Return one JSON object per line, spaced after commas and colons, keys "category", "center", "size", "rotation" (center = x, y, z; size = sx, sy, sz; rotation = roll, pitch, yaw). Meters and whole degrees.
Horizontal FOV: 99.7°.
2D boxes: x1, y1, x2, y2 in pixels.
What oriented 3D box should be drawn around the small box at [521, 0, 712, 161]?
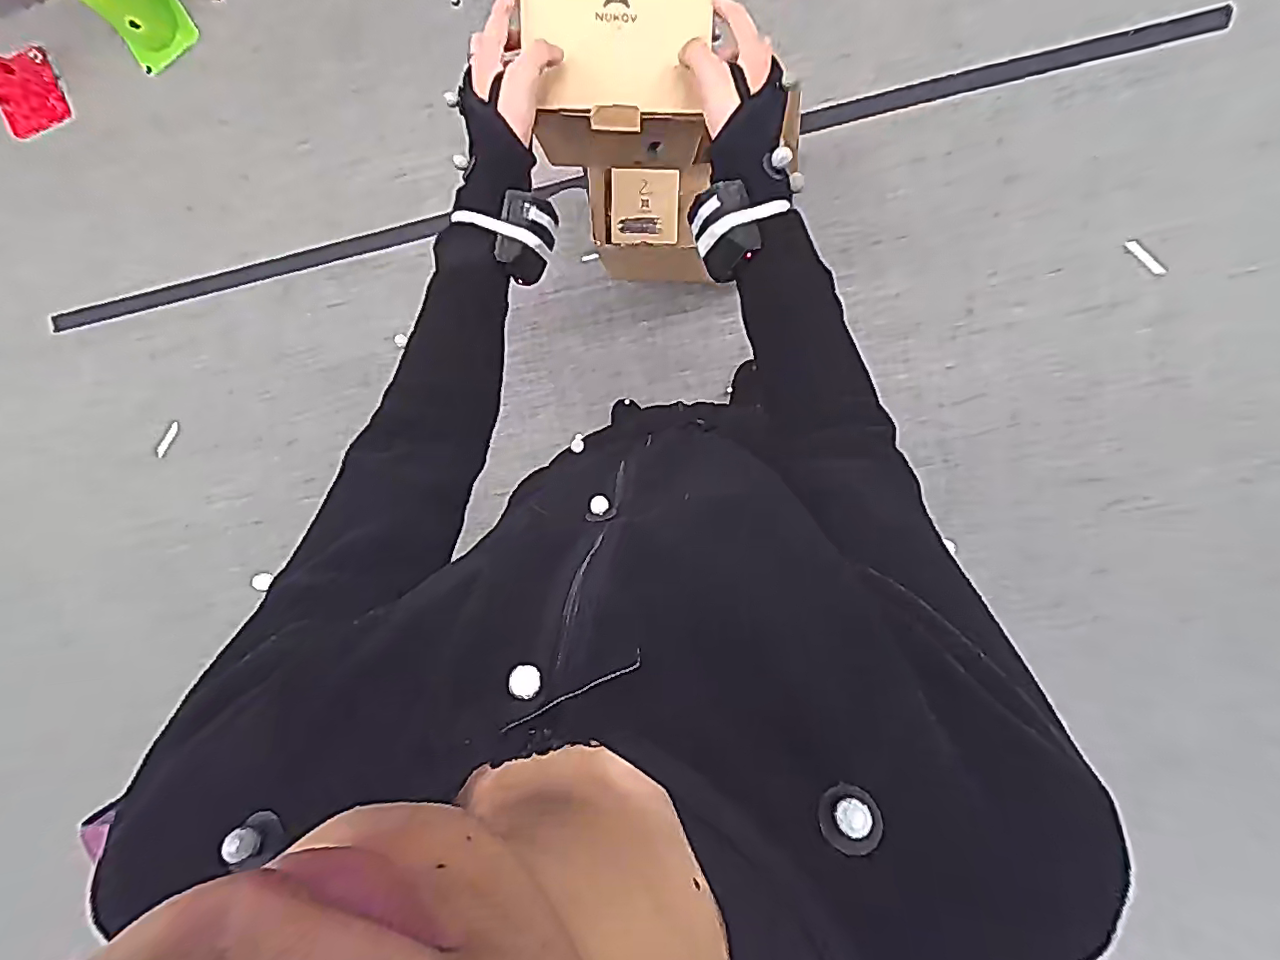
{"category": "small box", "center": [-0.018, -0.434, 0.534], "size": [0.168, 0.176, 0.179], "rotation": [2, 105, -1]}
